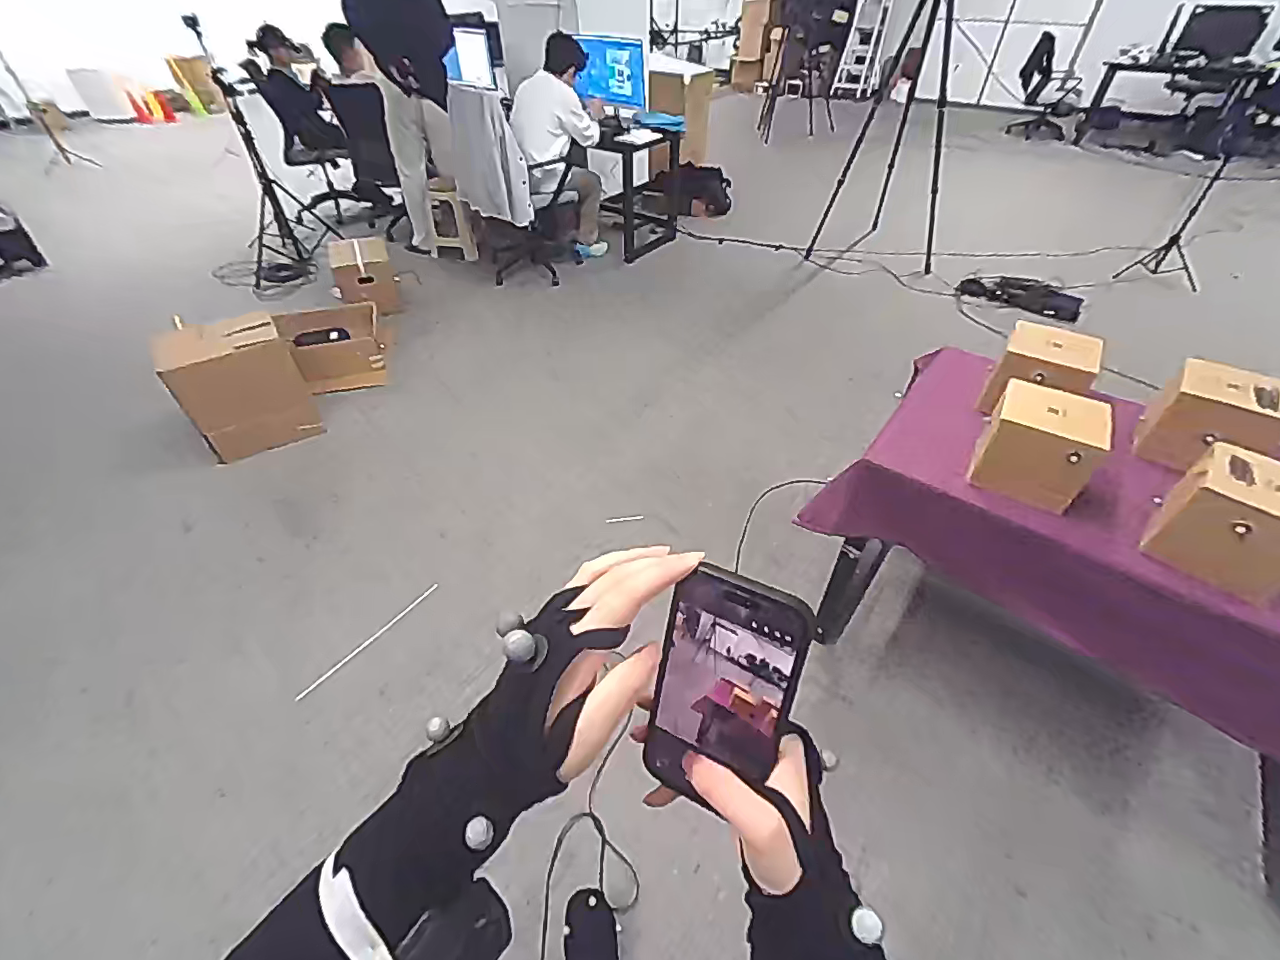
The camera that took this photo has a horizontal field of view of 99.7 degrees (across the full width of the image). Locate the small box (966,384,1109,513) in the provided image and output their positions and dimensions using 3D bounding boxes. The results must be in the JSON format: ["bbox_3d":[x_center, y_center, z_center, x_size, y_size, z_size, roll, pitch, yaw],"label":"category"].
[{"bbox_3d":[0.785,-0.061,1.078,0.179,0.176,0.168,25,48,22],"label":"small box"}]

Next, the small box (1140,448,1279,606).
[{"bbox_3d":[1.019,0.080,0.925,0.179,0.176,0.168,35,53,30],"label":"small box"}]
